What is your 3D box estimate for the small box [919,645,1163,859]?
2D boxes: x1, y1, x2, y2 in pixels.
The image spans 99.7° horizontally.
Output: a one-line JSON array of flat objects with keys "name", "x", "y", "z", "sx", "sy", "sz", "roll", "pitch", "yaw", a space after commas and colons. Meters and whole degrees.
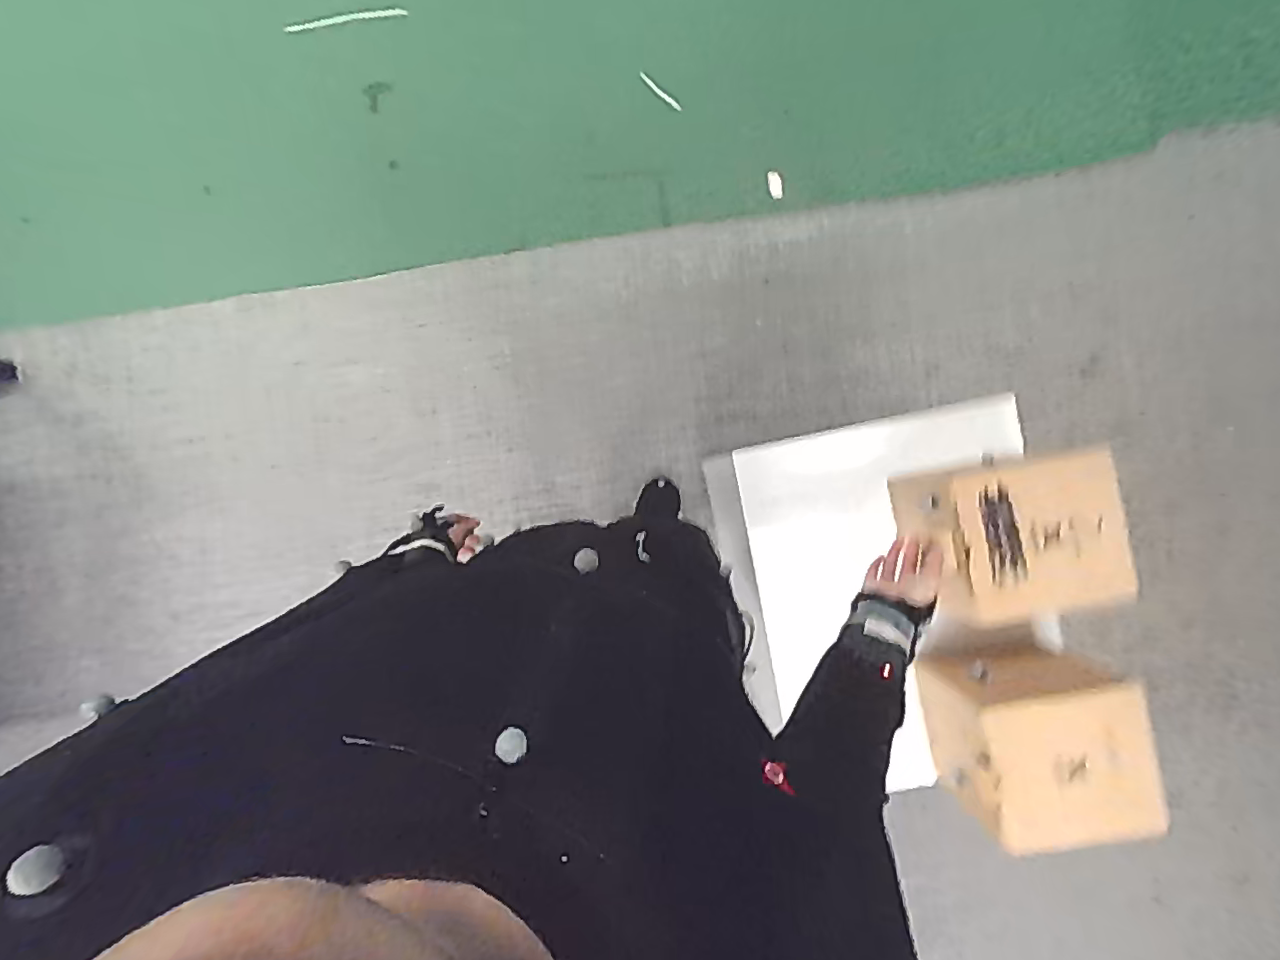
[{"name": "small box", "x": 0.471, "y": 0.321, "z": 0.669, "sx": 0.179, "sy": 0.176, "sz": 0.168, "roll": -11, "pitch": 91, "yaw": 1}]
